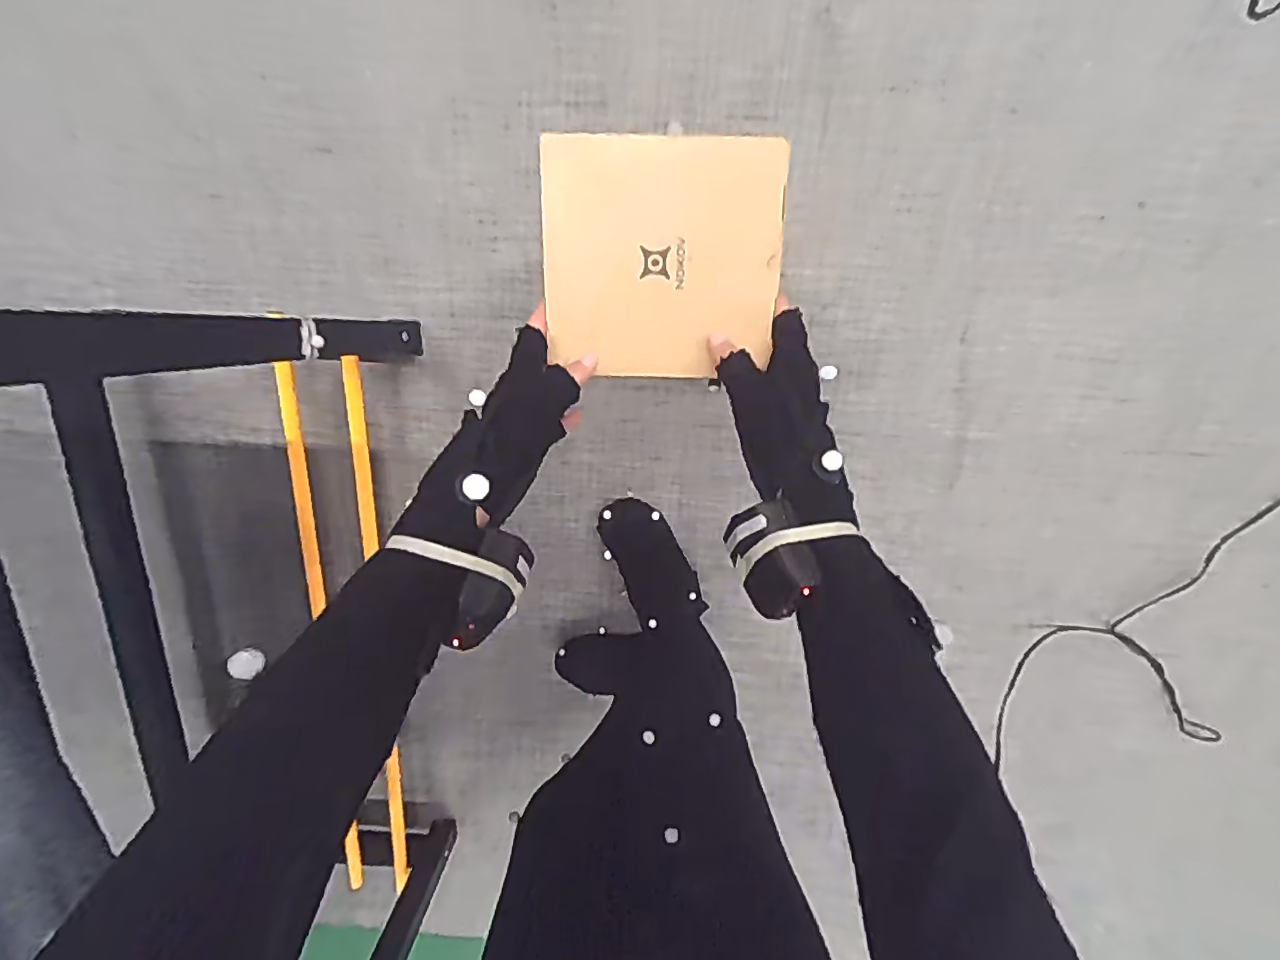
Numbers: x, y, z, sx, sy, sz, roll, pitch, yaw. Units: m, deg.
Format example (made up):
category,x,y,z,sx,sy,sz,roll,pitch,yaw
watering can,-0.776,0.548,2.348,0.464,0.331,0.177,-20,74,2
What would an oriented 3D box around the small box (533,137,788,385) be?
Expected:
category,x,y,z,sx,sy,sz,roll,pitch,yaw
small box,0.014,-0.178,0.466,0.179,0.176,0.168,1,109,1
